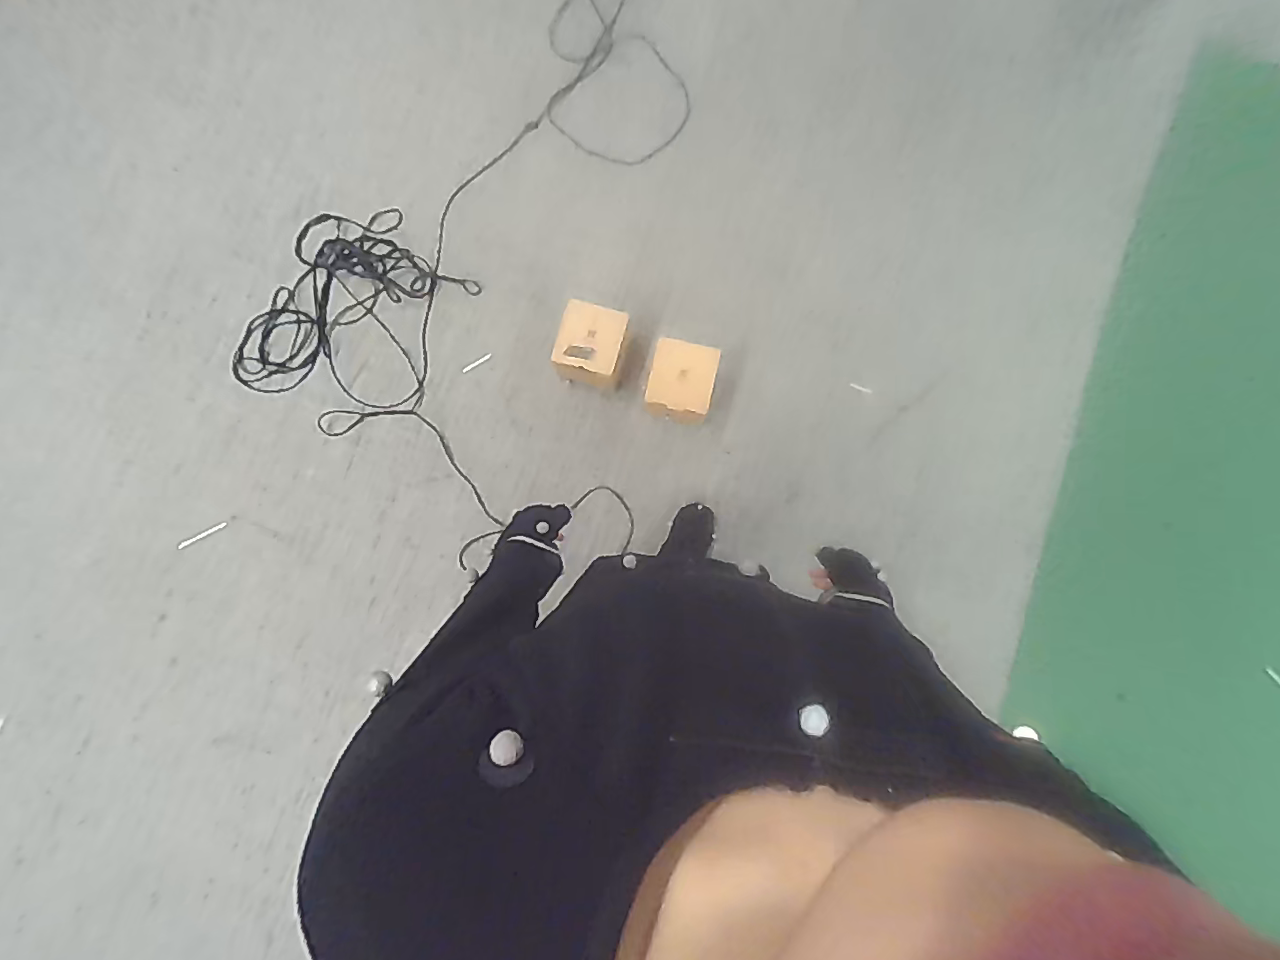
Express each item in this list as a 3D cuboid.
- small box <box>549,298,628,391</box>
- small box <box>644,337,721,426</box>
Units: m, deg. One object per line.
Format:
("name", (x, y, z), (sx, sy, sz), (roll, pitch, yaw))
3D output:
("small box", (-0.129, -0.354, 1.450), (0.168, 0.176, 0.179), (16, 84, 1))
("small box", (0.107, -0.256, 1.444), (0.168, 0.176, 0.179), (13, 86, 1))
